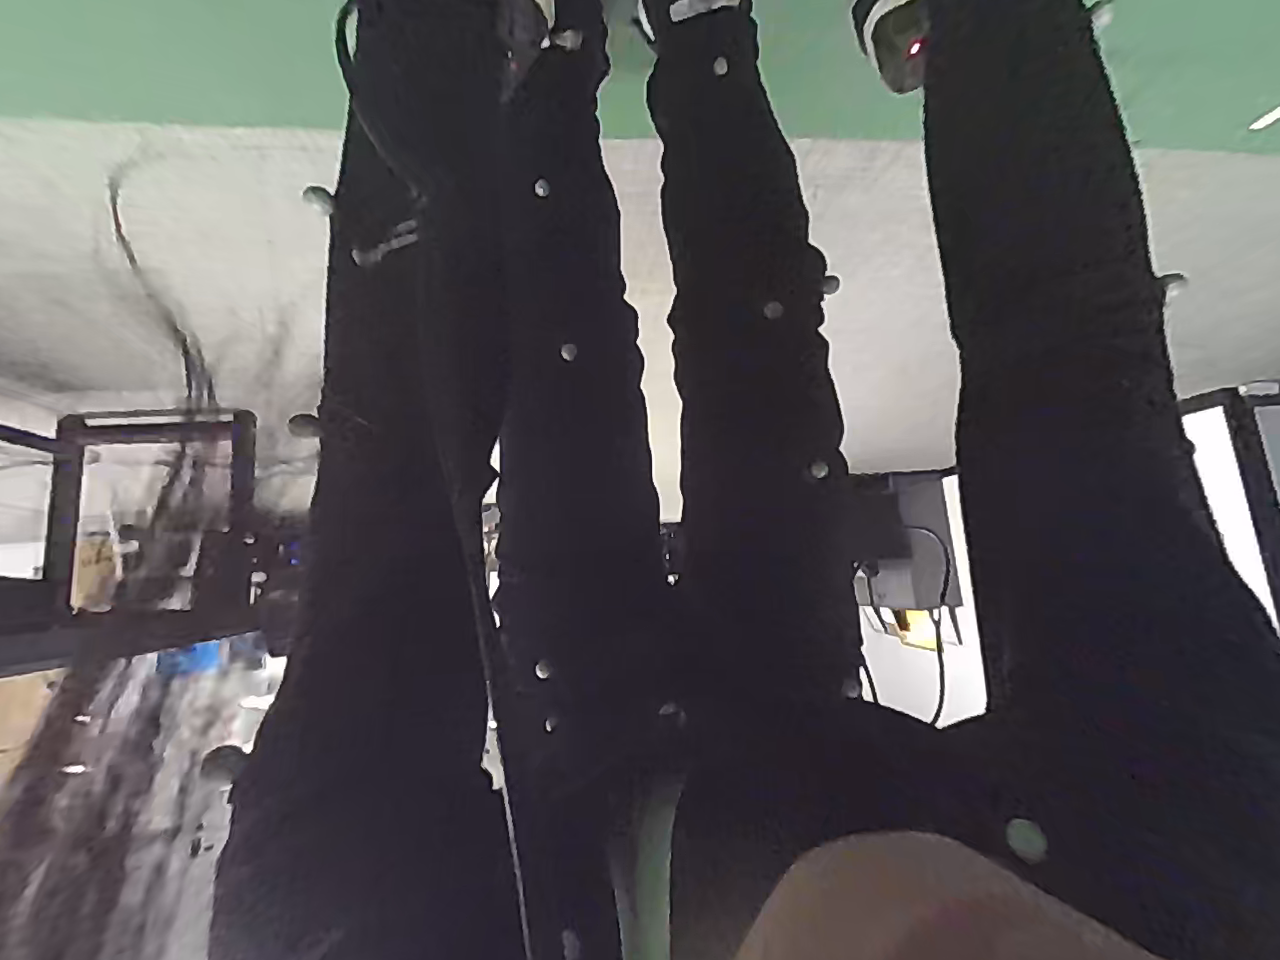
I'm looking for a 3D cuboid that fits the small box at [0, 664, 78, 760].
[{"bbox_3d":[-1.378,0.496,1.164,0.179,0.176,0.168,-3,171,-8],"label":"small box"}]
